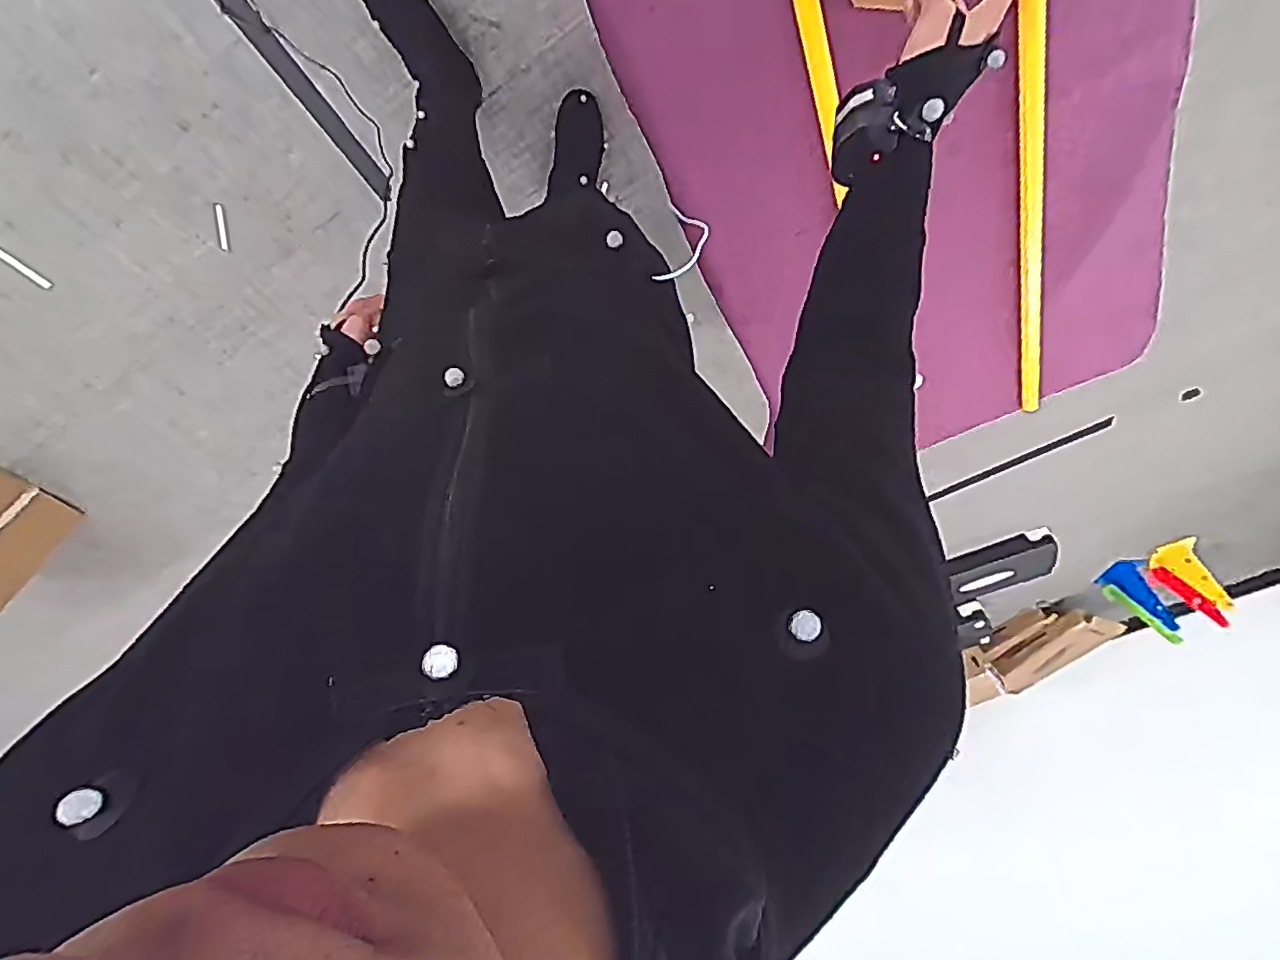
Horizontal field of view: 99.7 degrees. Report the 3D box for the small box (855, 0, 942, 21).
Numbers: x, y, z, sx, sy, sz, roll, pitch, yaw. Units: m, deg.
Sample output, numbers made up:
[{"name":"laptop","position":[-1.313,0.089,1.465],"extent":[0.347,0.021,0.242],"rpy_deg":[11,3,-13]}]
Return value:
[{"name":"small box","position":[0.251,-0.554,0.465],"extent":[0.168,0.176,0.179],"rpy_deg":[-33,129,21]}]
